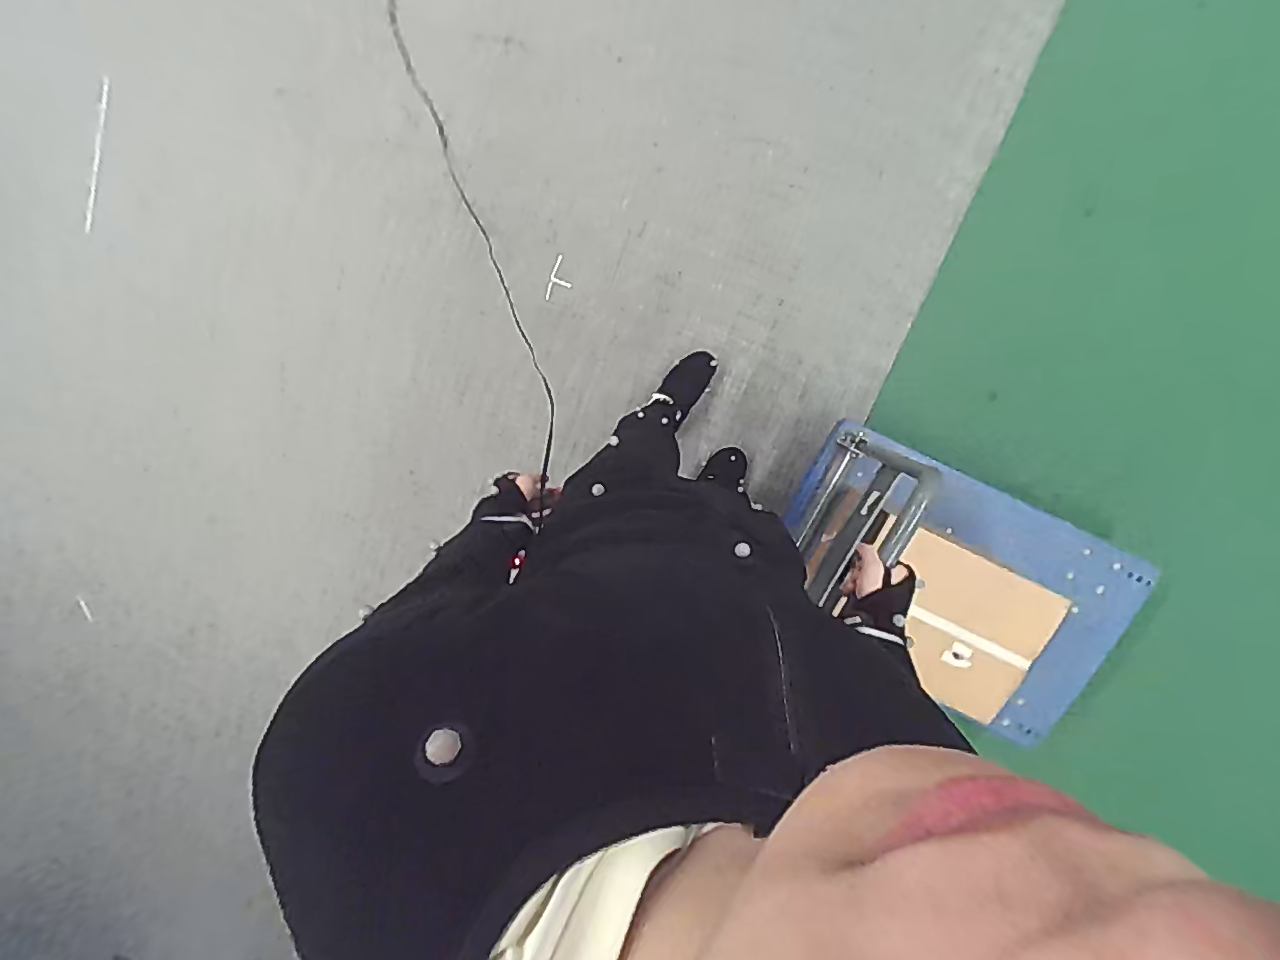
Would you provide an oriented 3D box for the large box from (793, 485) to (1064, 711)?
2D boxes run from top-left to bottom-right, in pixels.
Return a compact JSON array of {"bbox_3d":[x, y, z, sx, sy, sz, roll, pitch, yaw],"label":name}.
[{"bbox_3d":[0.630,0.249,1.269,0.408,0.320,0.320,27,103,1],"label":"large box"}]
